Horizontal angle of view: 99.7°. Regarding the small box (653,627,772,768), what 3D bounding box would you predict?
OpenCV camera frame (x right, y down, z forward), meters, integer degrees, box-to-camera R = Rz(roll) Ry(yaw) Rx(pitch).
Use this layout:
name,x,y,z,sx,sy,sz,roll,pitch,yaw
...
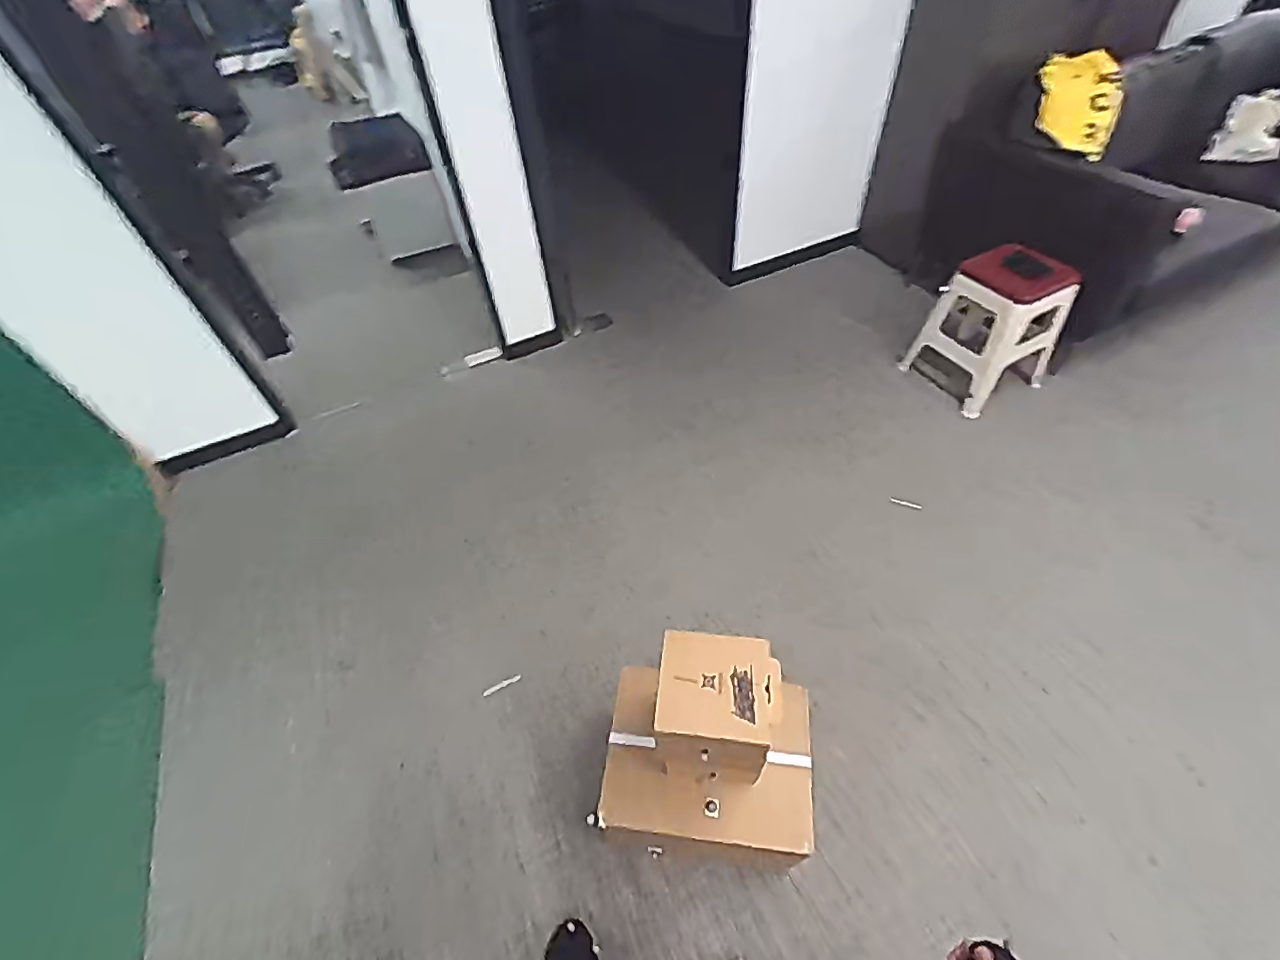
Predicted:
name,x,y,z,sx,sy,sz,roll,pitch,yaw
small box,0.121,0.367,0.904,0.179,0.176,0.168,4,49,9

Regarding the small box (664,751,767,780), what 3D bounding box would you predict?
name,x,y,z,sx,sy,sz,roll,pitch,yaw
small box,0.139,0.464,1.037,0.179,0.176,0.168,2,48,4
